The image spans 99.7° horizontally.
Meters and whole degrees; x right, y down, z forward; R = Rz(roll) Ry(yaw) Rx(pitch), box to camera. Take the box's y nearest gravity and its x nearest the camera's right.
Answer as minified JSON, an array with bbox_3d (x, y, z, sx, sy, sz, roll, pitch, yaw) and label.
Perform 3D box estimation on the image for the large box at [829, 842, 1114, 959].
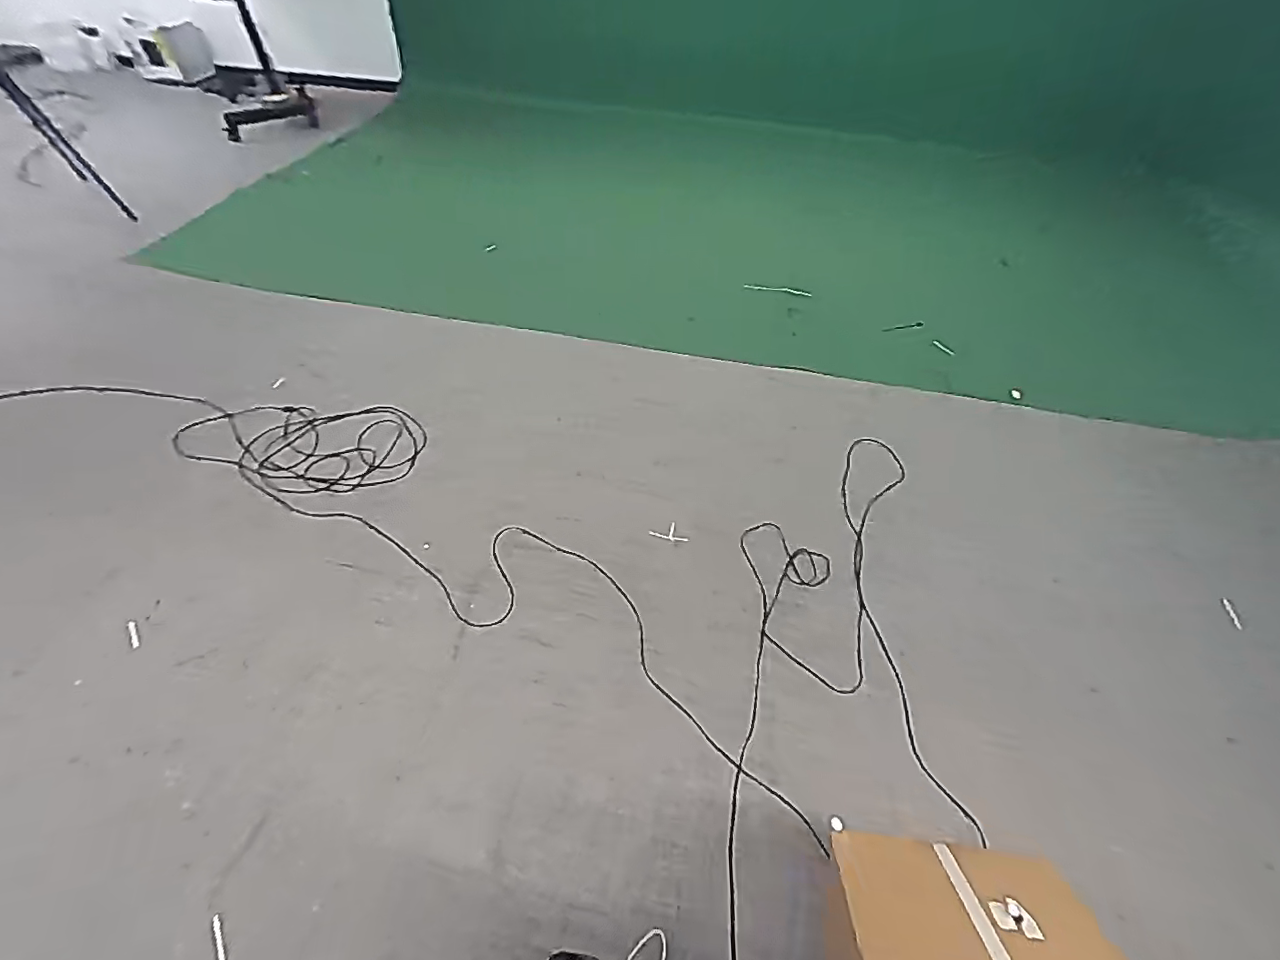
[{"bbox_3d":[0.412,0.726,0.633,0.320,0.408,0.320,3,91,11],"label":"large box"}]
